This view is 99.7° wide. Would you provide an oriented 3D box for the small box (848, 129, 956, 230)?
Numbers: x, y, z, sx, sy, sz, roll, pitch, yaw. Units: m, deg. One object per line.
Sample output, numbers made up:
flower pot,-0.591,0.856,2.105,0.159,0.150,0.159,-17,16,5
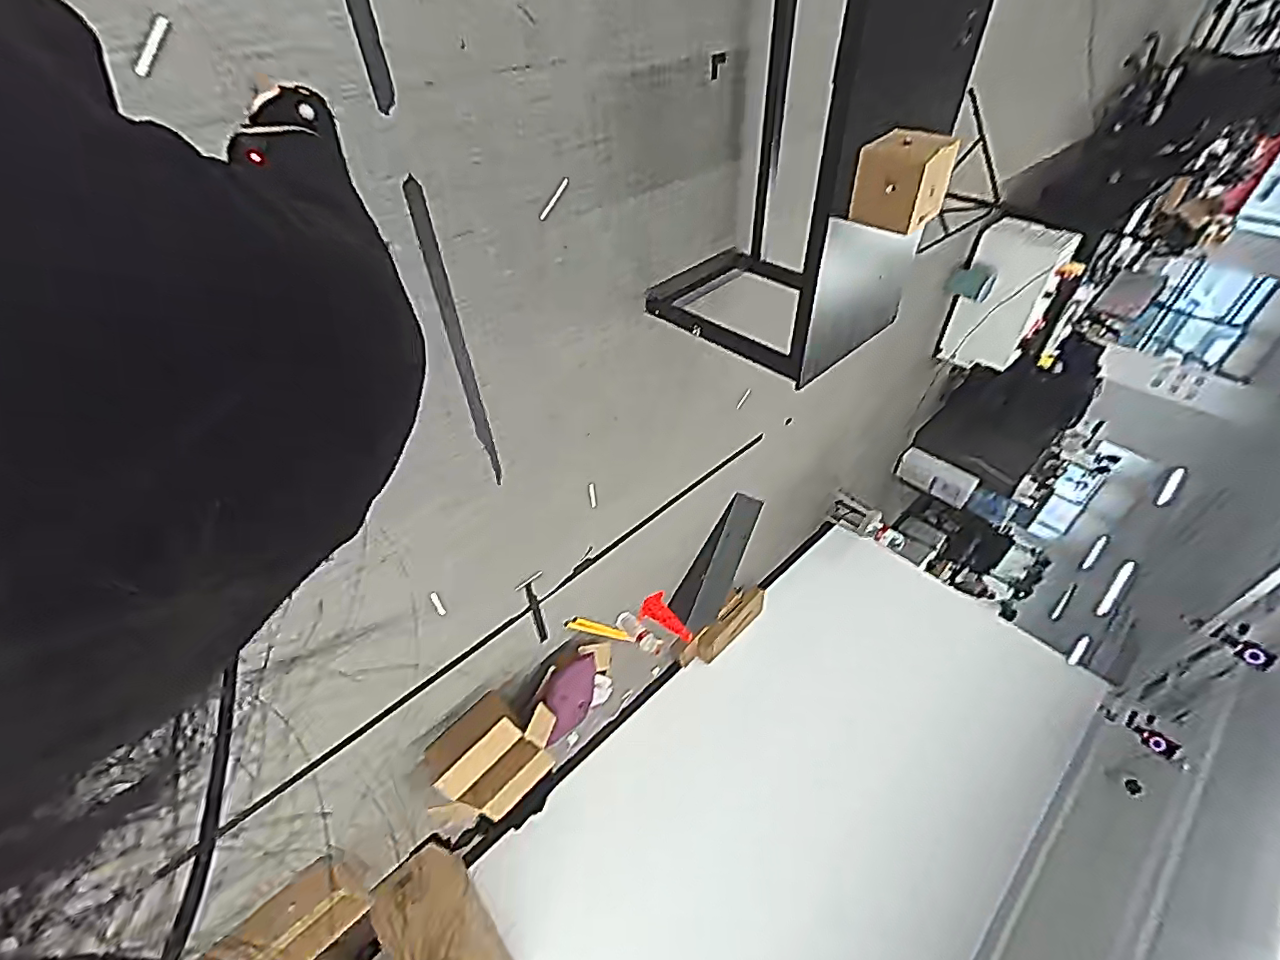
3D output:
small box,0.646,-0.757,1.353,0.168,0.176,0.179,-38,143,-24
